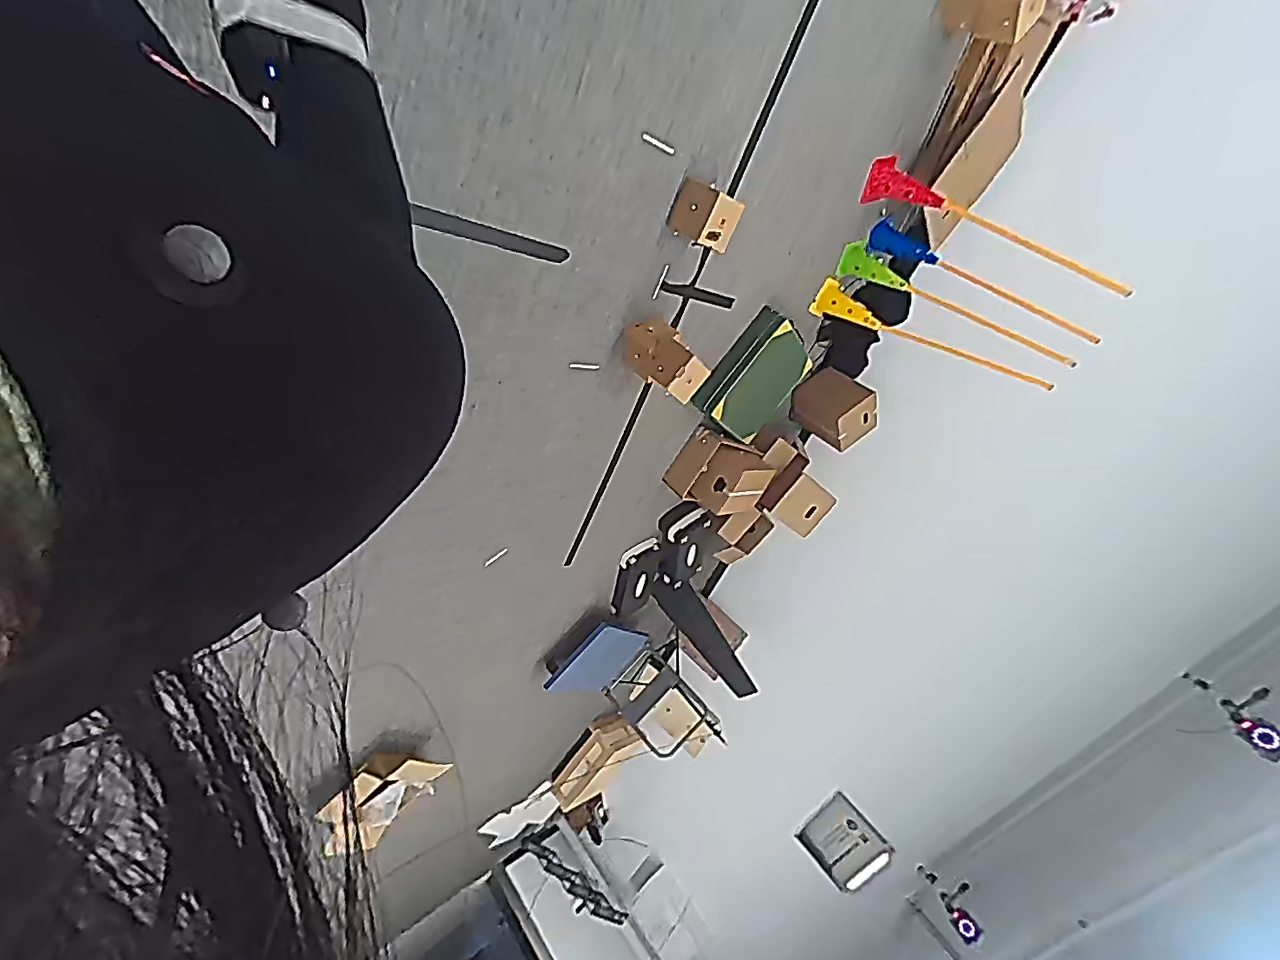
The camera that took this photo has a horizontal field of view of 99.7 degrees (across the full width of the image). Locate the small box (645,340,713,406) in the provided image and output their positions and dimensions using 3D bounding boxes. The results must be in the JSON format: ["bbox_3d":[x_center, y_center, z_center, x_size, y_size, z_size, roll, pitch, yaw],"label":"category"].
[{"bbox_3d":[0.149,-0.424,2.116,0.168,0.176,0.179,-49,150,9],"label":"small box"}]

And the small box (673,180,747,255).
[{"bbox_3d":[0.244,-0.942,1.941,0.168,0.176,0.179,-6,130,-48],"label":"small box"}]

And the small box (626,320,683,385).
[{"bbox_3d":[0.057,-0.529,2.206,0.168,0.176,0.179,-33,148,-21],"label":"small box"}]
